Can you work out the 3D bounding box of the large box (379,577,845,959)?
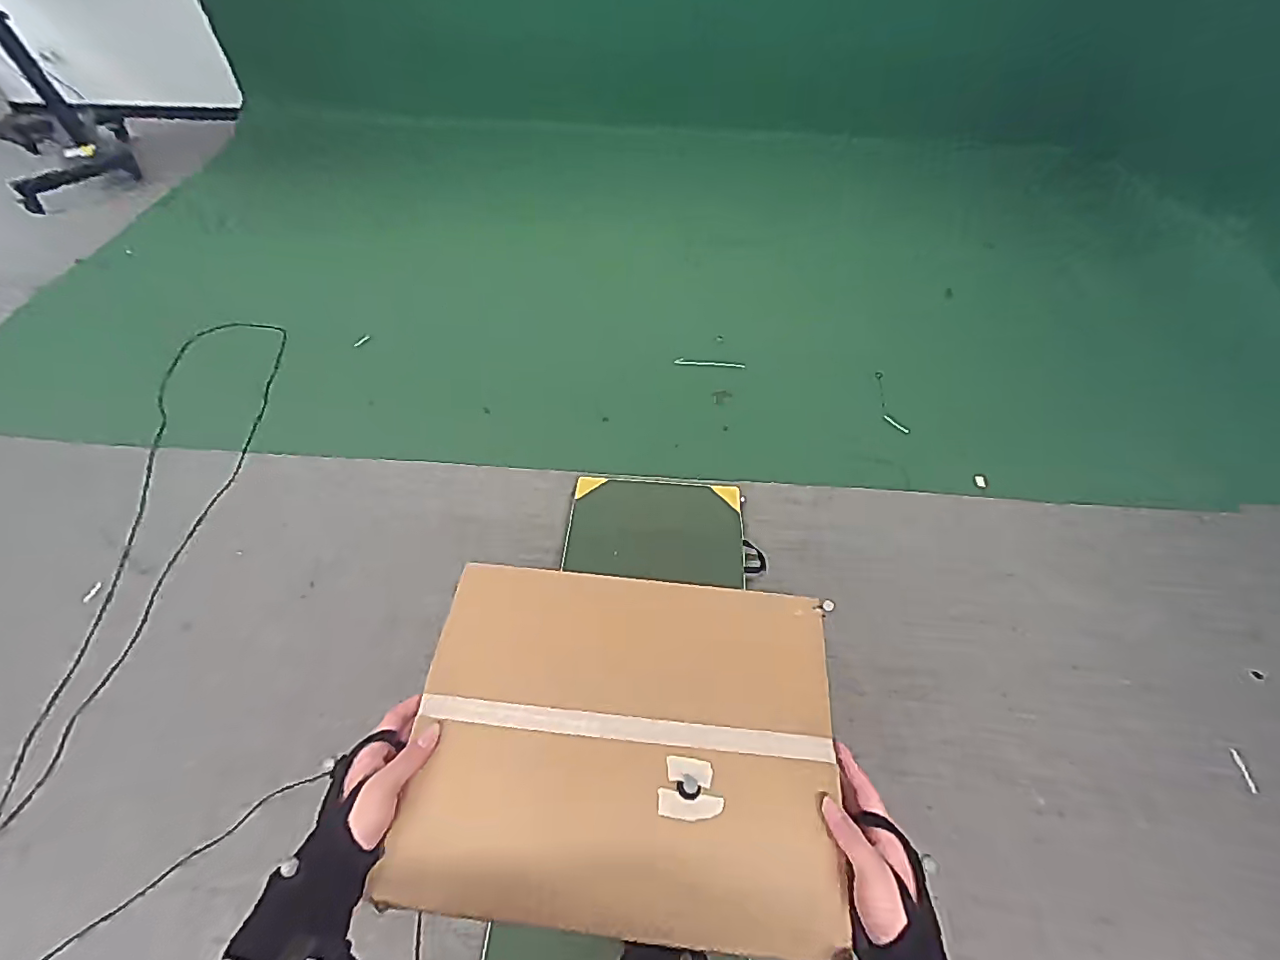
[{"bbox_3d":[-0.018,0.339,0.657,0.408,0.320,0.320,5,55,3],"label":"large box"}]
